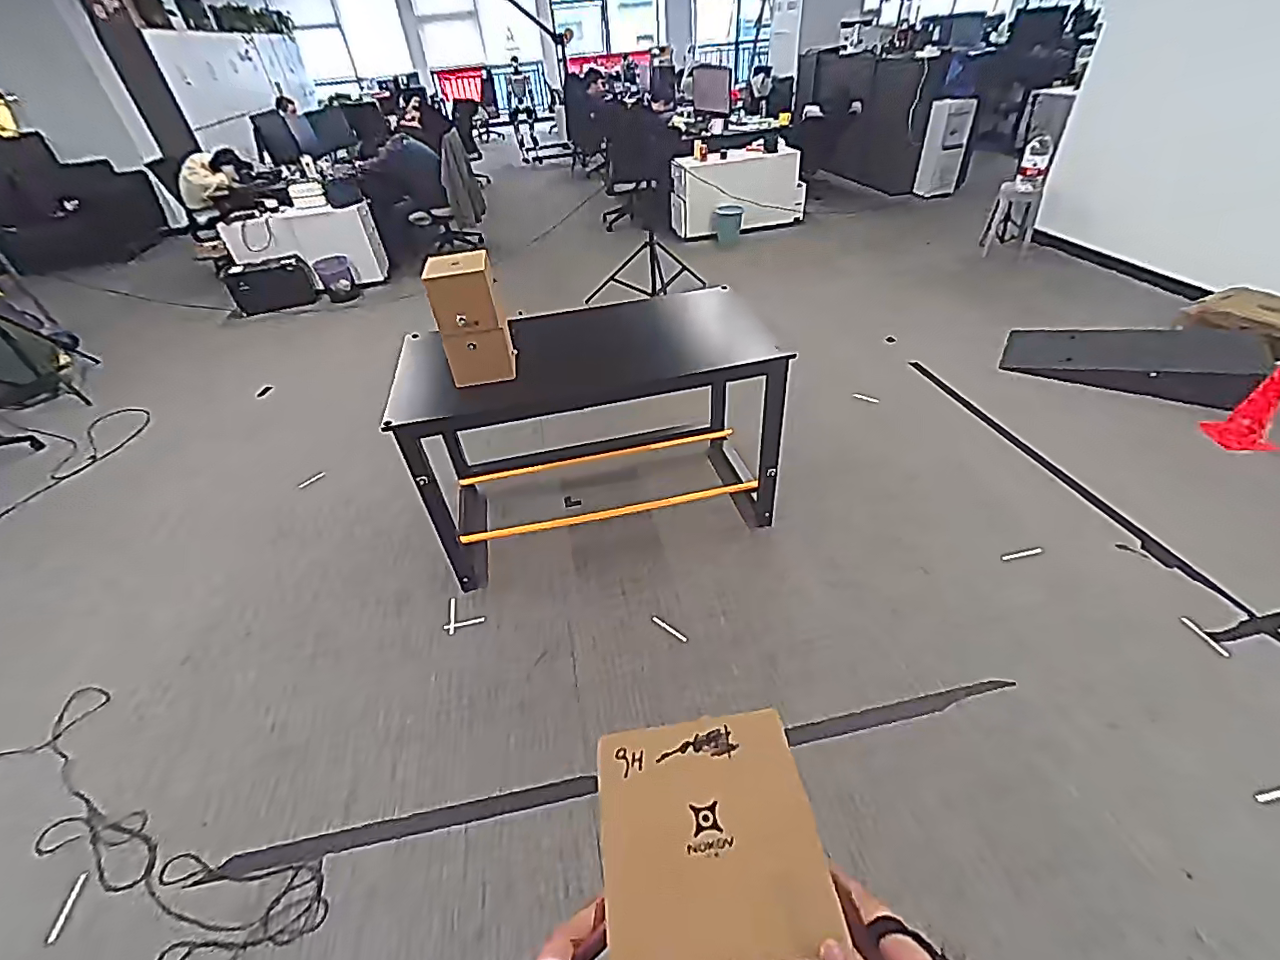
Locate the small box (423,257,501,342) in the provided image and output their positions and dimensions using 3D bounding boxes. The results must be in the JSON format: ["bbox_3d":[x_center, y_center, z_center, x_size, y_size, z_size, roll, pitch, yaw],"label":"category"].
[{"bbox_3d":[-0.498,-0.511,1.532,0.168,0.176,0.179,-12,41,-6],"label":"small box"}]

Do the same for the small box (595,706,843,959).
[{"bbox_3d":[0.058,0.332,0.474,0.168,0.176,0.179,-9,40,-2],"label":"small box"}]

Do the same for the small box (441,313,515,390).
[{"bbox_3d":[-0.483,-0.387,1.637,0.179,0.176,0.168,-10,40,-6],"label":"small box"}]
